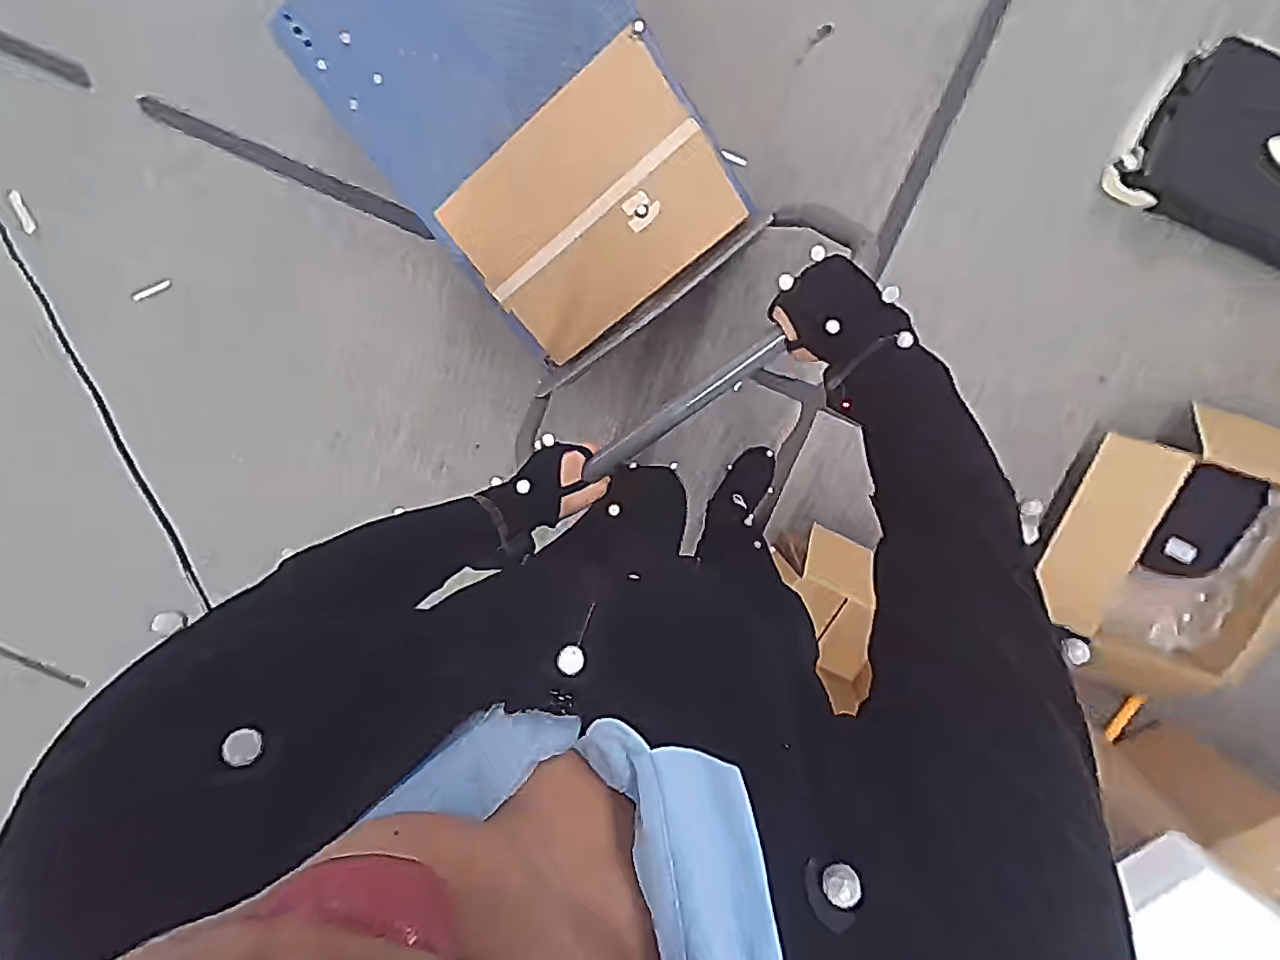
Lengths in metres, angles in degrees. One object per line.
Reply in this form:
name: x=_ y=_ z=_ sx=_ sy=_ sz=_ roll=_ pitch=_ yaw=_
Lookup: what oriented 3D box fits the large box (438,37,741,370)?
large box: x=-0.084 y=-0.469 z=1.005 sx=0.408 sy=0.320 sz=0.320 roll=-36 pitch=109 yaw=13
